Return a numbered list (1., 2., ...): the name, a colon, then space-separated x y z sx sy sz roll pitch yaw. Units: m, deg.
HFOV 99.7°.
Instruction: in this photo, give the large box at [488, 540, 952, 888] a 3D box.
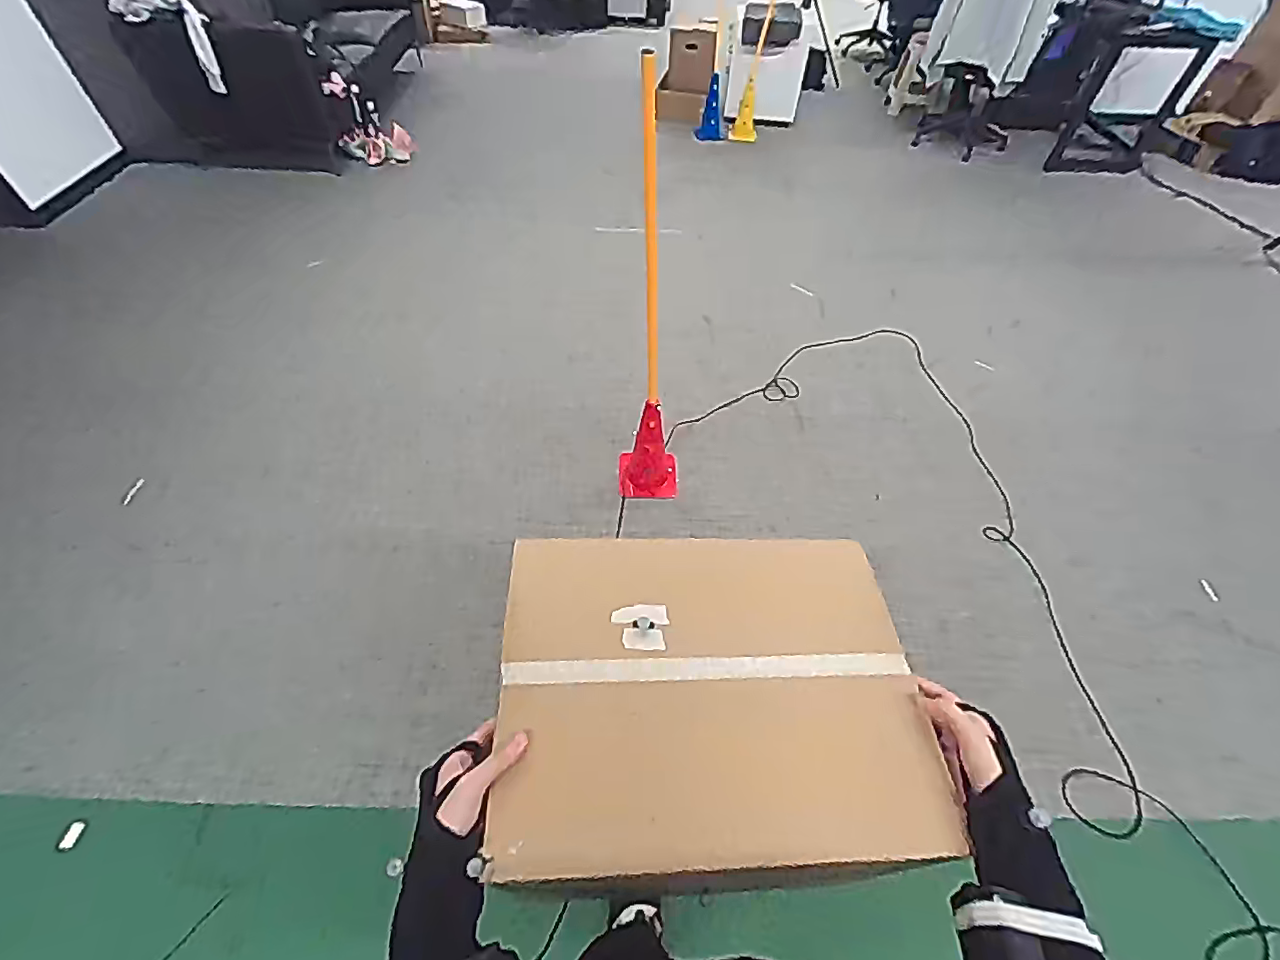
1. large box: 0.058 0.286 0.655 0.408 0.320 0.320 0 50 -5
